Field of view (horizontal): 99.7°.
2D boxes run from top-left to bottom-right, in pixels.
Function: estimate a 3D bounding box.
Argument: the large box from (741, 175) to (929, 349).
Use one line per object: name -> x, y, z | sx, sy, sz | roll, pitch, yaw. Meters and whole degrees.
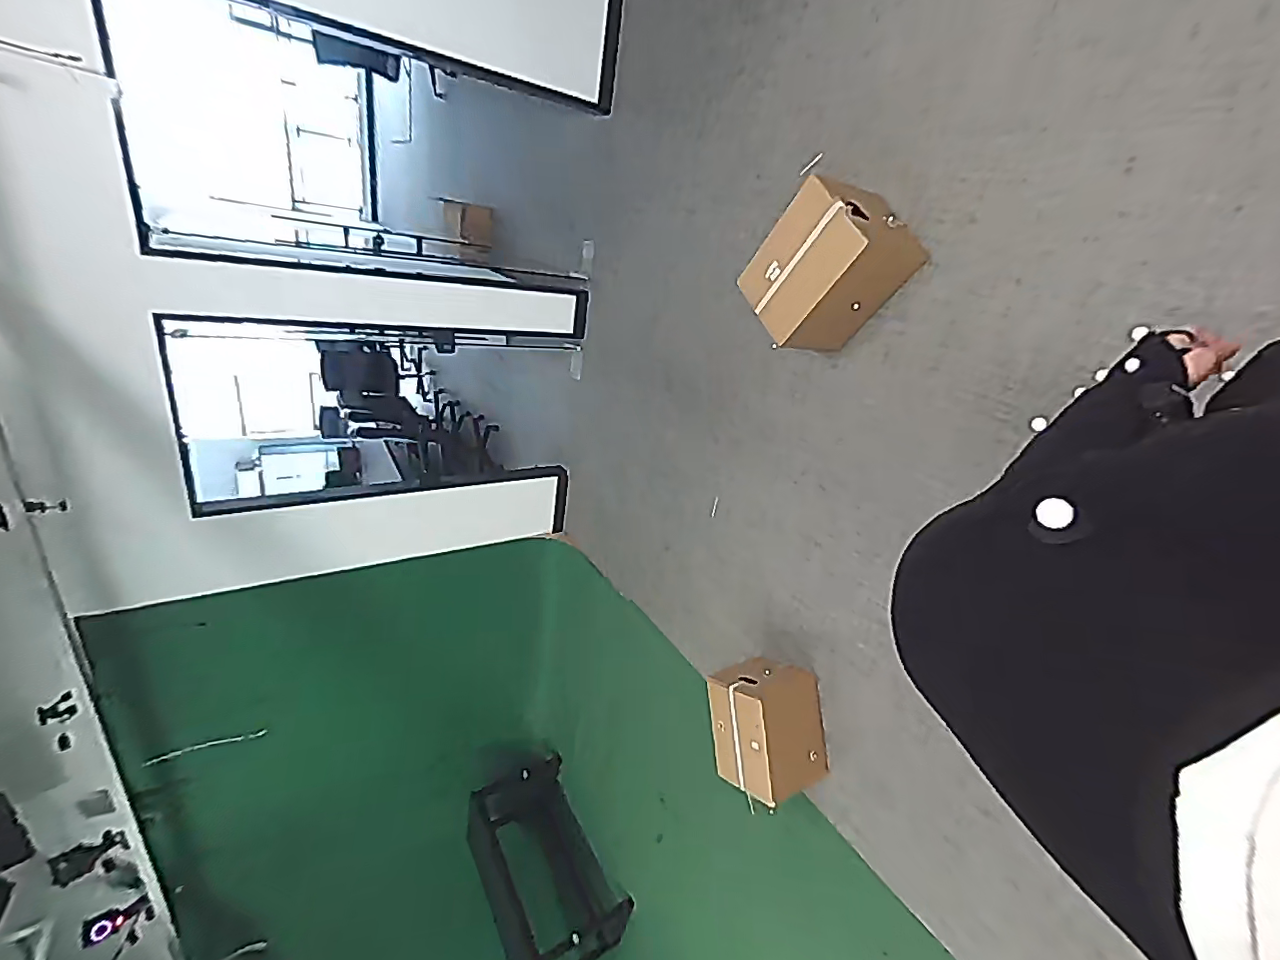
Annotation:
large box -> 0.606, -0.673, 1.728 | 0.408, 0.320, 0.320 | -53, 52, 48
